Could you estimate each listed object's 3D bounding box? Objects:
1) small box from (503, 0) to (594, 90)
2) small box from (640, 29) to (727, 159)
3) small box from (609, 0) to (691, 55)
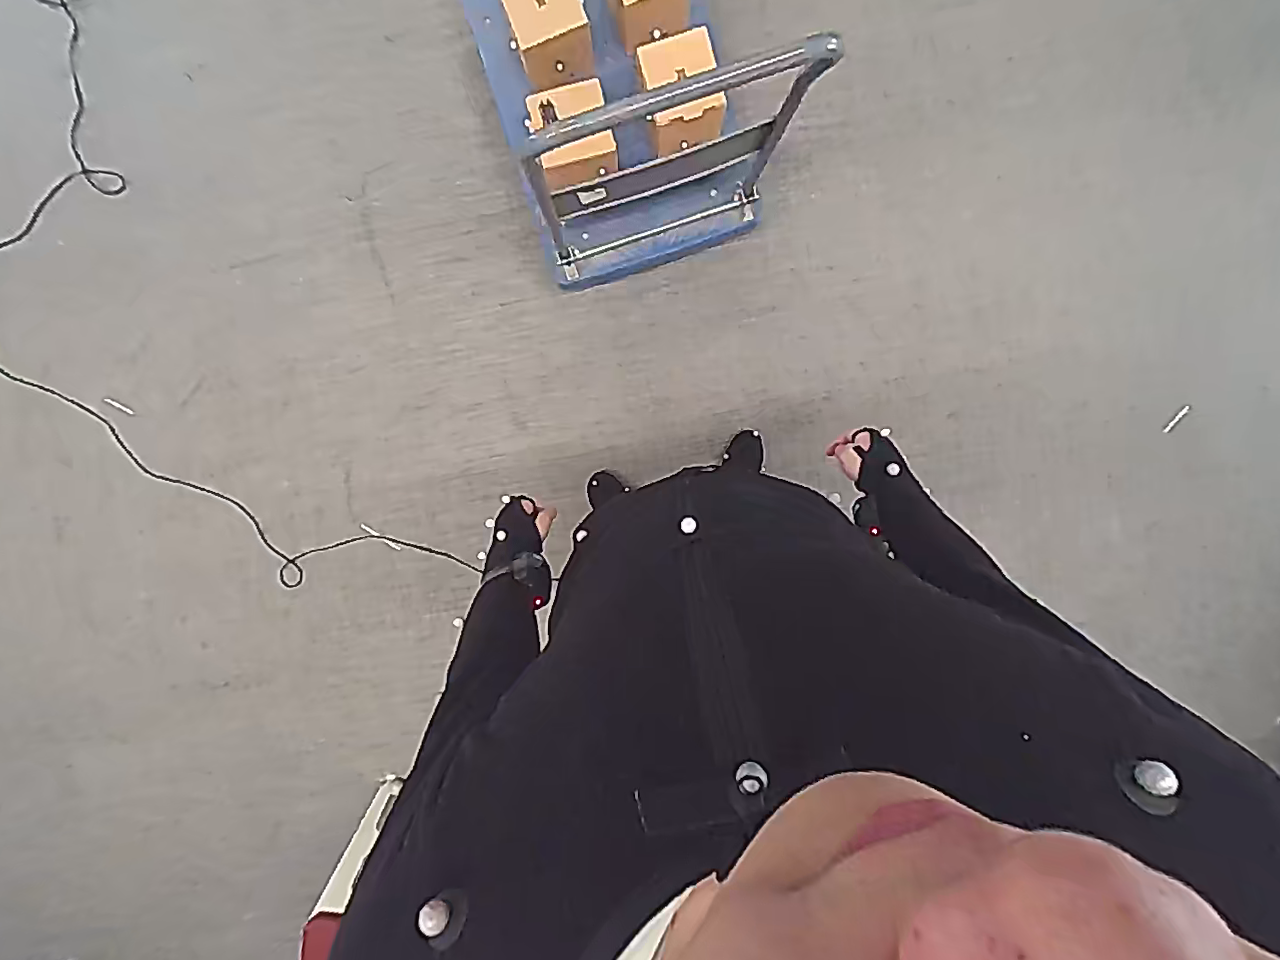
[{"bbox_3d":[-0.218,-1.091,1.307,0.168,0.176,0.179,-21,94,2],"label":"small box"},{"bbox_3d":[0.099,-0.928,1.315,0.168,0.176,0.179,-17,94,2],"label":"small box"},{"bbox_3d":[0.015,-1.184,1.295,0.168,0.176,0.179,-21,95,3],"label":"small box"}]
